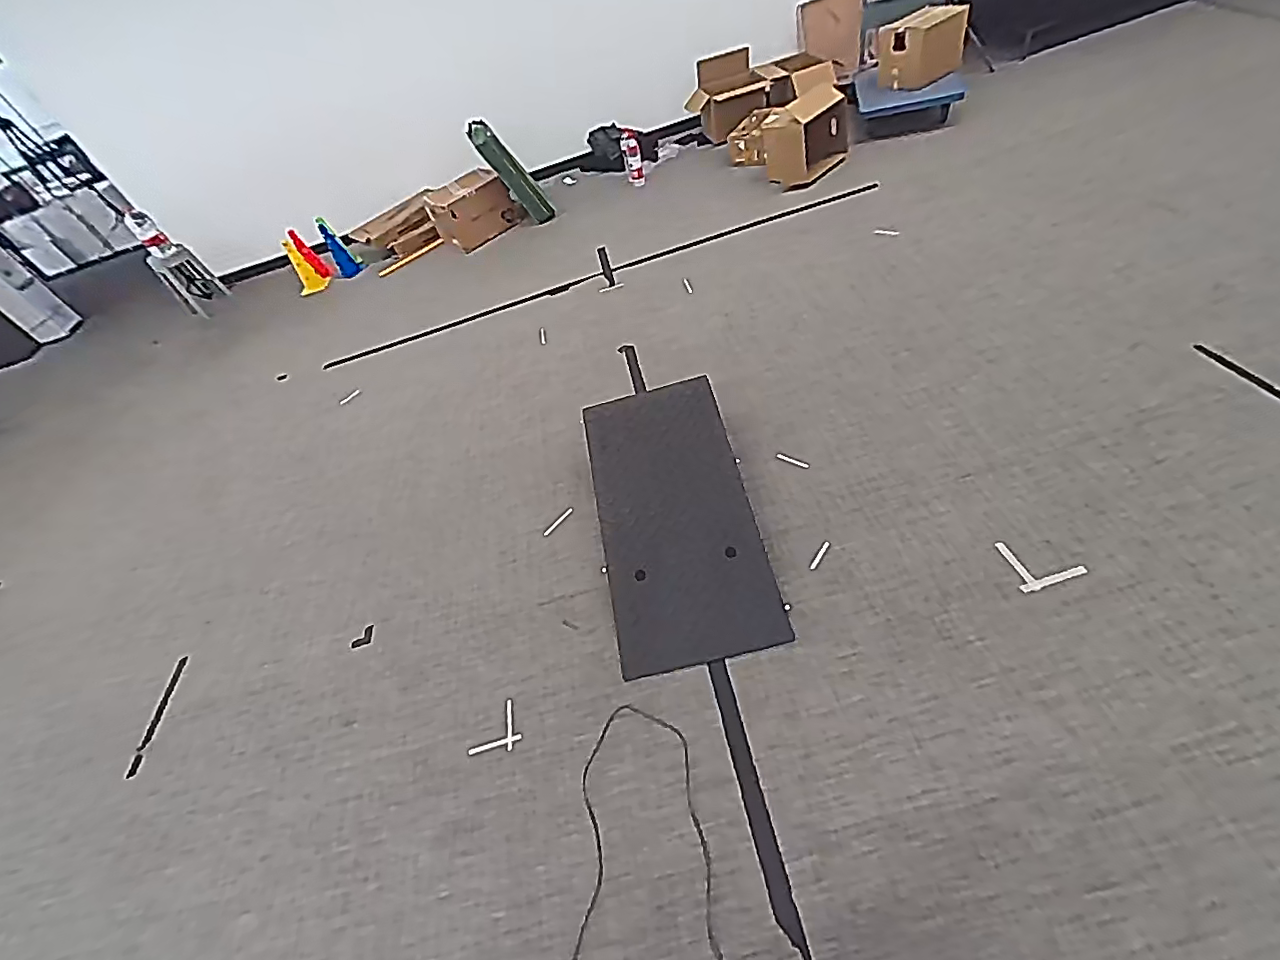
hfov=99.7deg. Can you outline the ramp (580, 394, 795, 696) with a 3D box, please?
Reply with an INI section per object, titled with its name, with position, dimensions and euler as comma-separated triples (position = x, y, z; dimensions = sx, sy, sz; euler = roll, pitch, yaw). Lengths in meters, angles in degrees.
[ramp]
position = 0.103, 0.143, 1.779
dimensions = 0.509, 0.206, 0.991
euler = -17, 46, 2
